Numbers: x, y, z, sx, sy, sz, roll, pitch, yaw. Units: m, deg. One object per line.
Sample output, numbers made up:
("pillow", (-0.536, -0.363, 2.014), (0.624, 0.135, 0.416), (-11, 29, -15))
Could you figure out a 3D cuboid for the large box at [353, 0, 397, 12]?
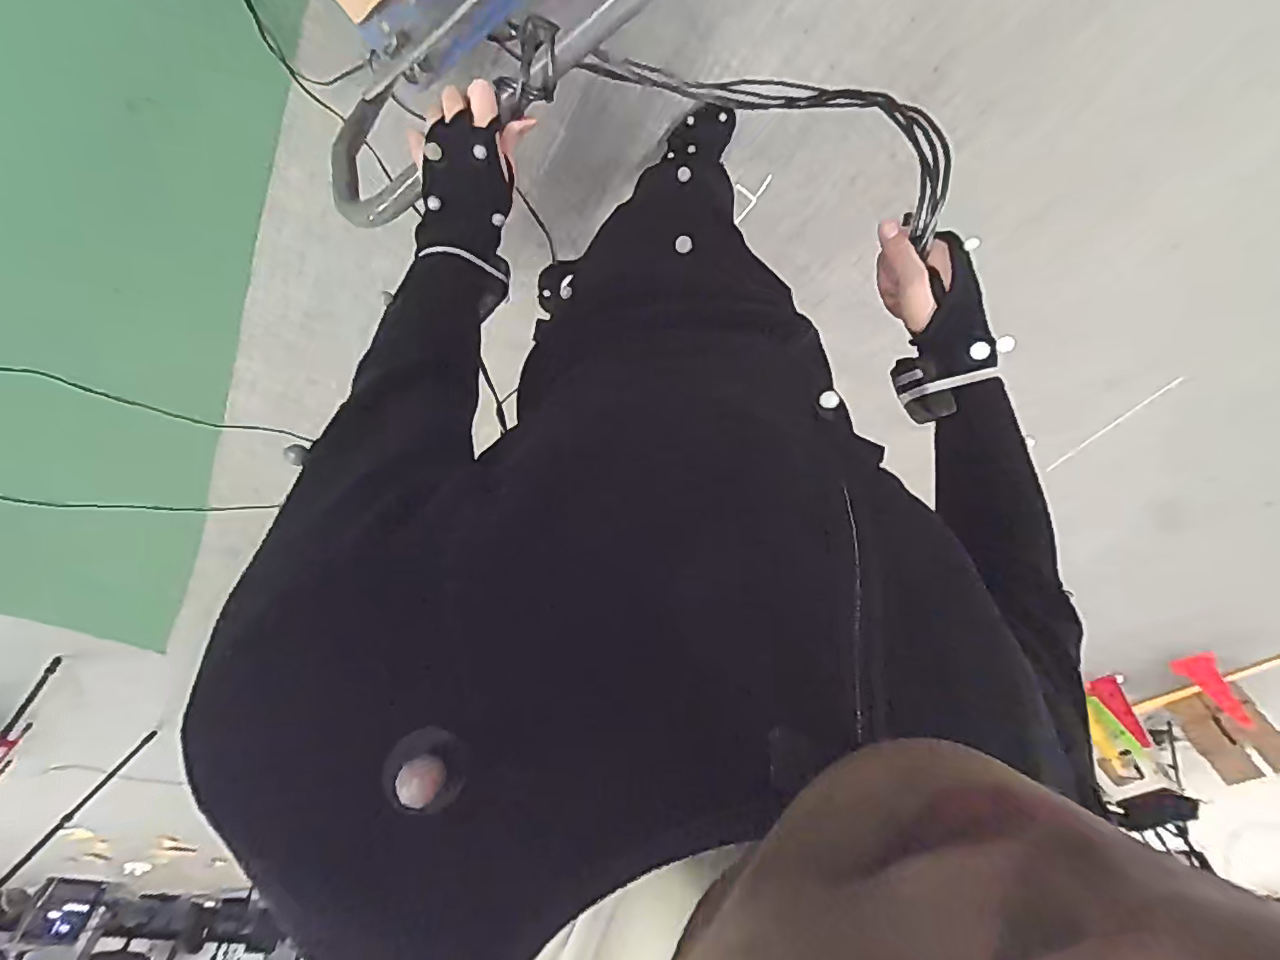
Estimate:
("large box", (-0.372, -0.922, 0.671), (0.320, 0.320, 0.408), (-27, 133, 20))
